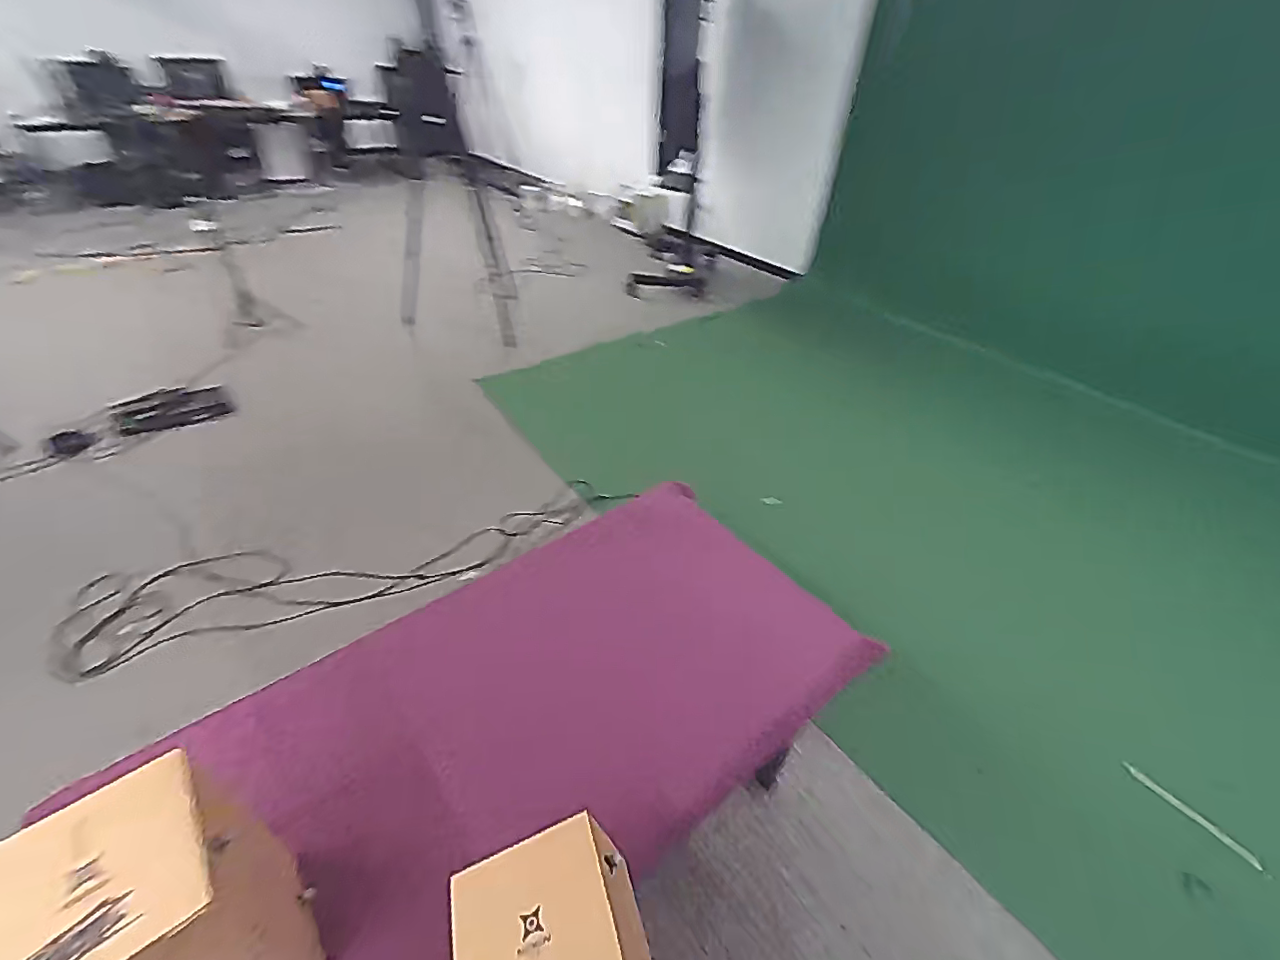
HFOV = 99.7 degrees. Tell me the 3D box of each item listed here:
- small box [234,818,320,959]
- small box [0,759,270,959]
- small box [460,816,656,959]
[{"bbox_3d":[-0.499,0.549,0.622,0.168,0.176,0.179,-28,47,-31],"label":"small box"},{"bbox_3d":[-0.491,0.421,0.519,0.168,0.176,0.179,-27,47,-32],"label":"small box"},{"bbox_3d":[-0.081,0.516,0.586,0.168,0.176,0.179,-22,37,-5],"label":"small box"}]
